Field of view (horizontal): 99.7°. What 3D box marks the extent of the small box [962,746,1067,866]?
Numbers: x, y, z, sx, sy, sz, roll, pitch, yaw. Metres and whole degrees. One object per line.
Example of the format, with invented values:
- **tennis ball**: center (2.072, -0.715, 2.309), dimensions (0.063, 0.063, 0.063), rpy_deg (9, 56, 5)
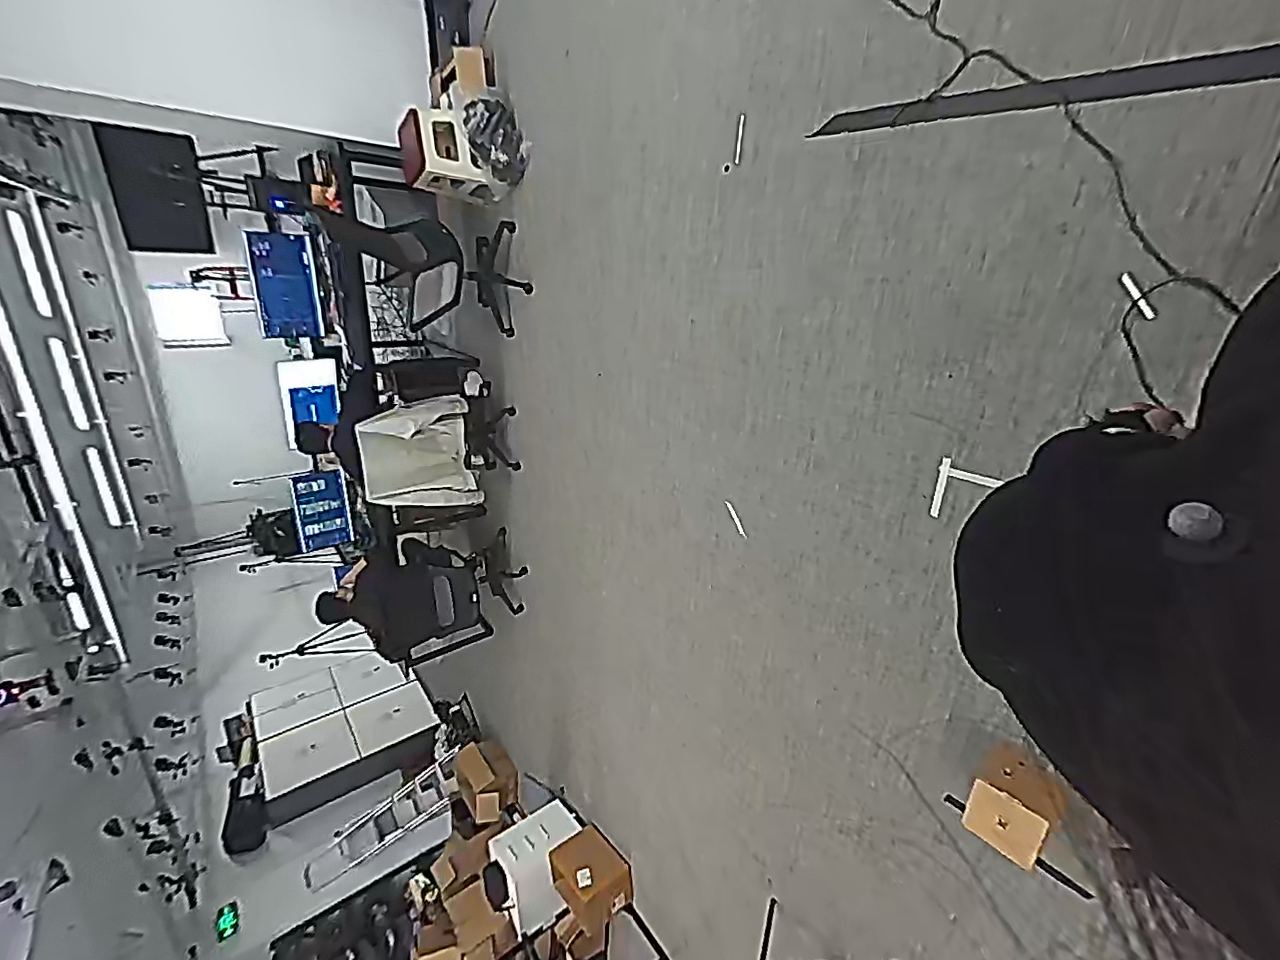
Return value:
- **small box**: center (0.986, 0.844, 1.421), dimensions (0.168, 0.176, 0.179), rpy_deg (25, 122, 48)
